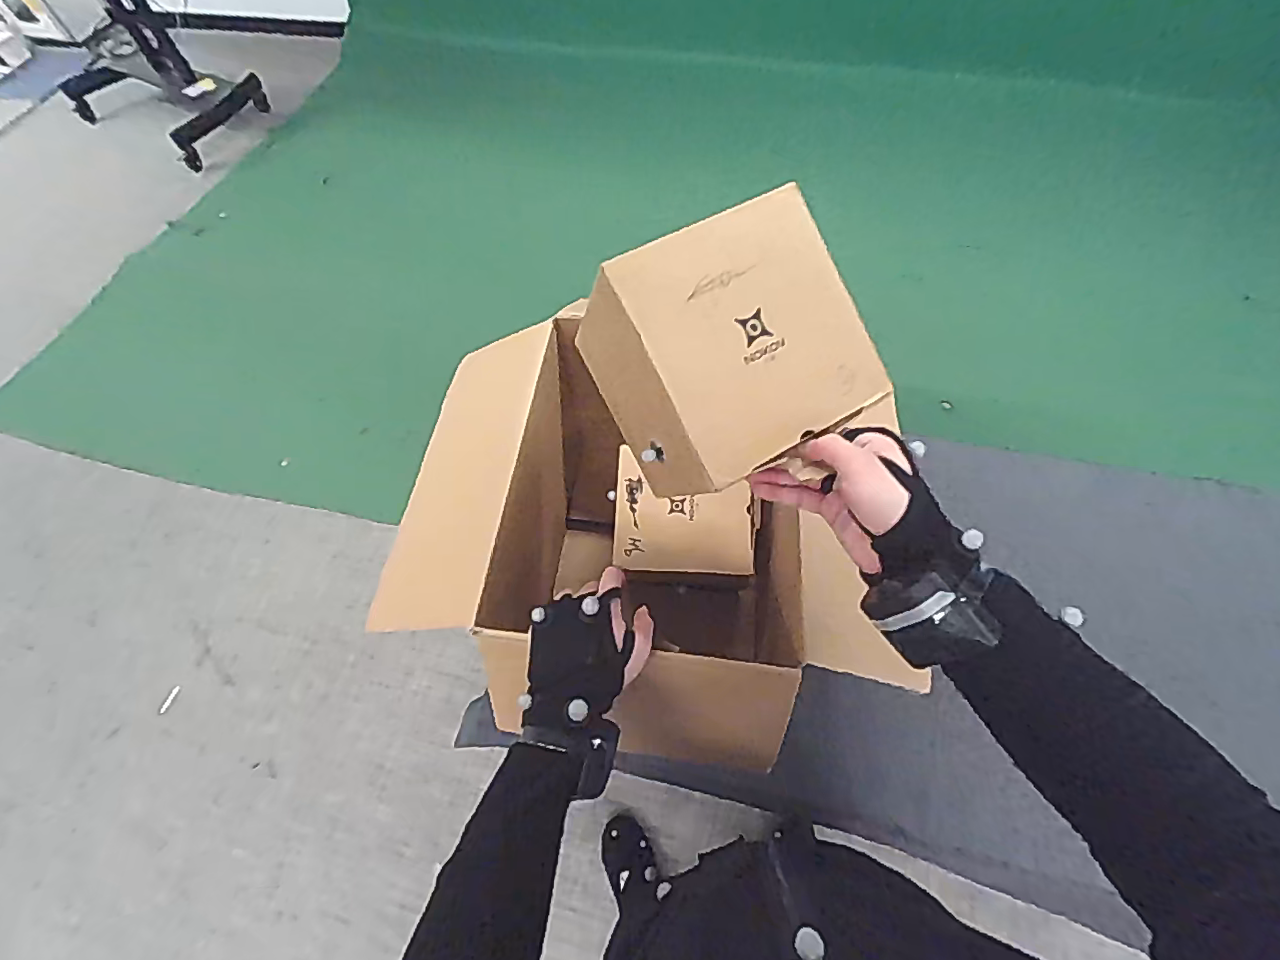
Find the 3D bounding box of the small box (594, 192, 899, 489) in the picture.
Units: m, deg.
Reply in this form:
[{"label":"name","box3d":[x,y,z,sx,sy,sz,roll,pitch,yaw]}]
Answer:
[{"label":"small box","box3d":[0.075,-0.102,0.472,0.168,0.176,0.179,-28,92,-14]}]
